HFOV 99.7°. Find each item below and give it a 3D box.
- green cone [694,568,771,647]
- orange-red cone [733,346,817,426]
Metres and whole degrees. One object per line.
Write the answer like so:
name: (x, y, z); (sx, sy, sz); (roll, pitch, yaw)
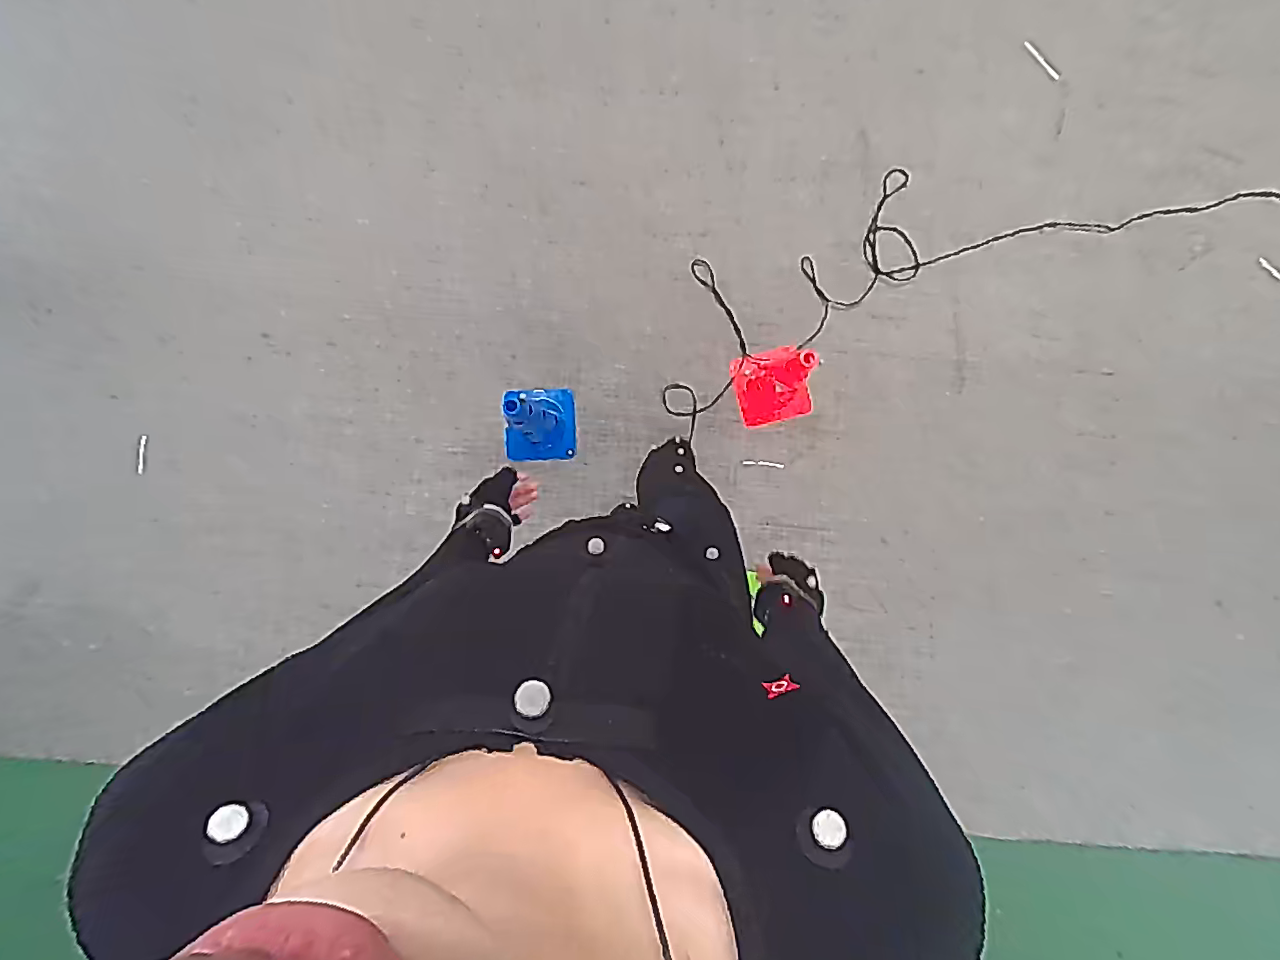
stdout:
green cone: (0.259, 0.348, 1.334); (0.200, 0.368, 0.202); (7, 88, 0)
orange-red cone: (0.370, -0.263, 1.345); (0.198, 0.360, 0.199); (-14, 91, 1)
